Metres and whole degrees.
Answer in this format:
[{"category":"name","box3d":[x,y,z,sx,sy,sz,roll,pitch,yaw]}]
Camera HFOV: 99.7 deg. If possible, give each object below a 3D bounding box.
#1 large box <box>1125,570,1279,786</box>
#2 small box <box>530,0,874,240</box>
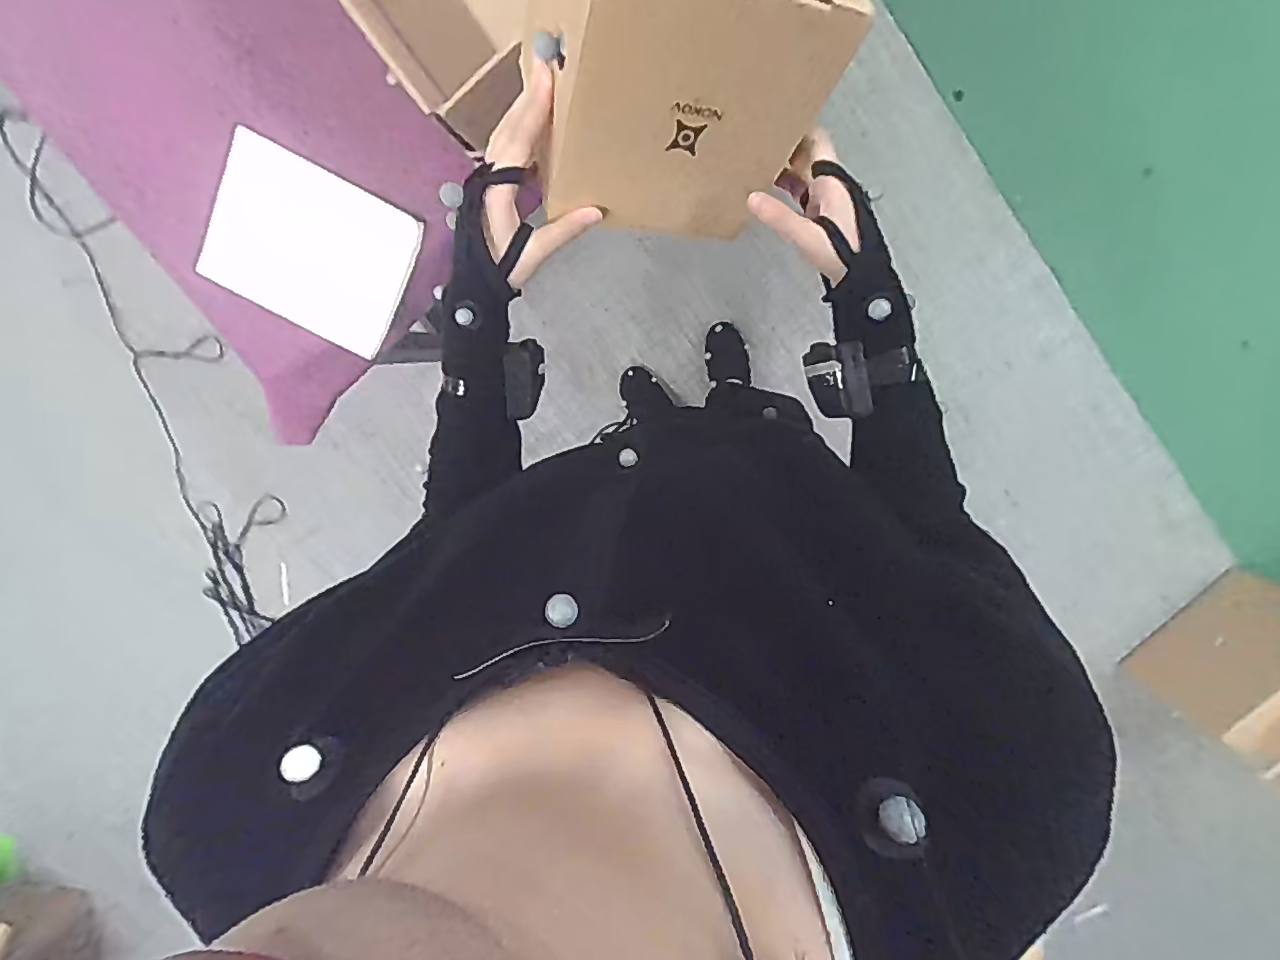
[{"category":"large box","box3d":[1.598,0.509,1.365,0.320,0.320,0.408,37,101,-6]},{"category":"small box","box3d":[0.021,-0.305,0.377,0.168,0.179,0.176,-3,70,-21]}]
